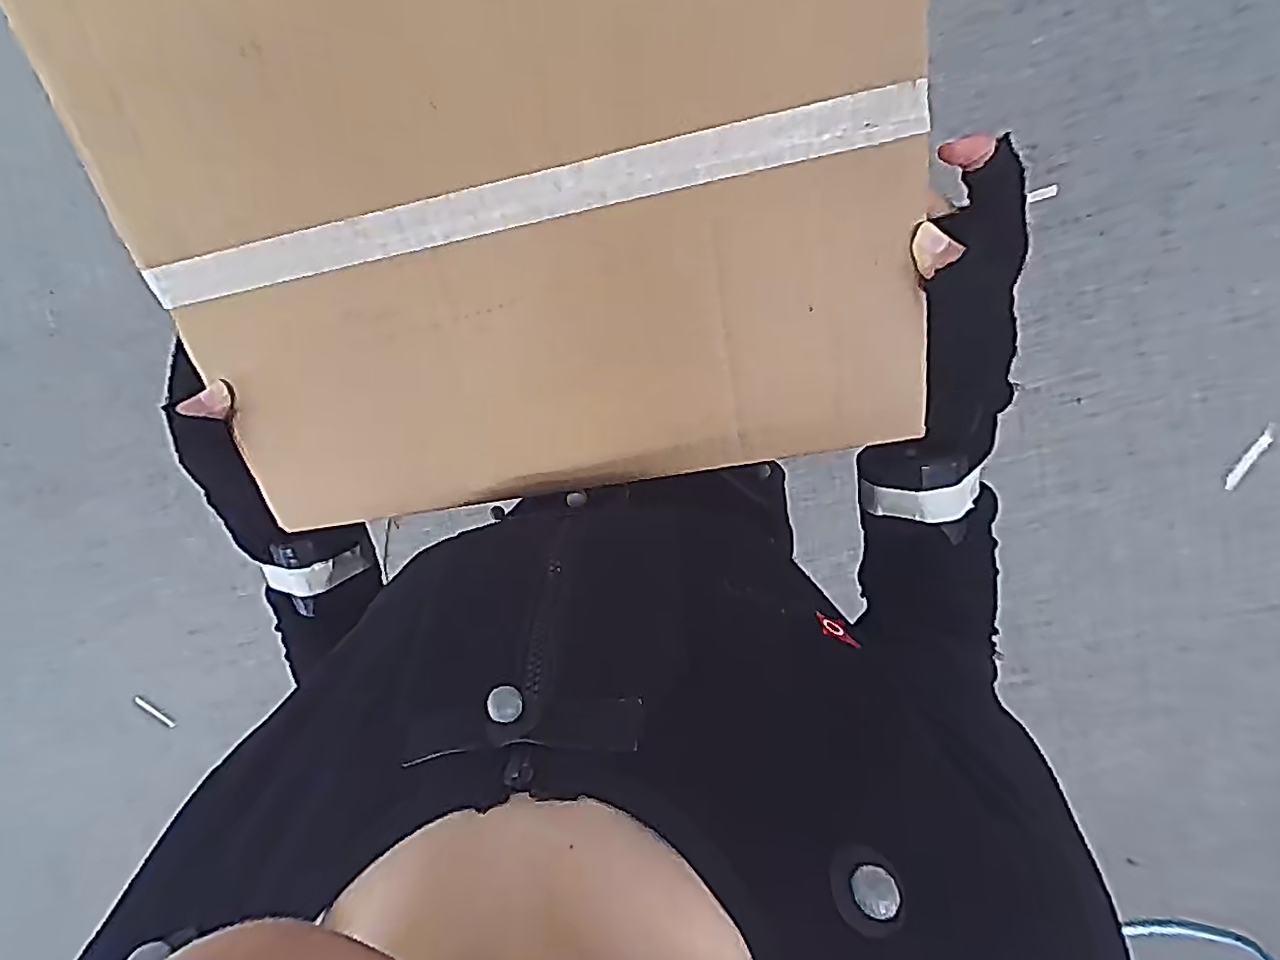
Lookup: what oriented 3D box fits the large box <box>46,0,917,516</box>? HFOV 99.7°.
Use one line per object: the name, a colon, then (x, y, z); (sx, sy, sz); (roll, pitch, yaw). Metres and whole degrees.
large box: (-0.057, -0.202, 0.416); (0.408, 0.320, 0.320); (-9, 114, 8)
